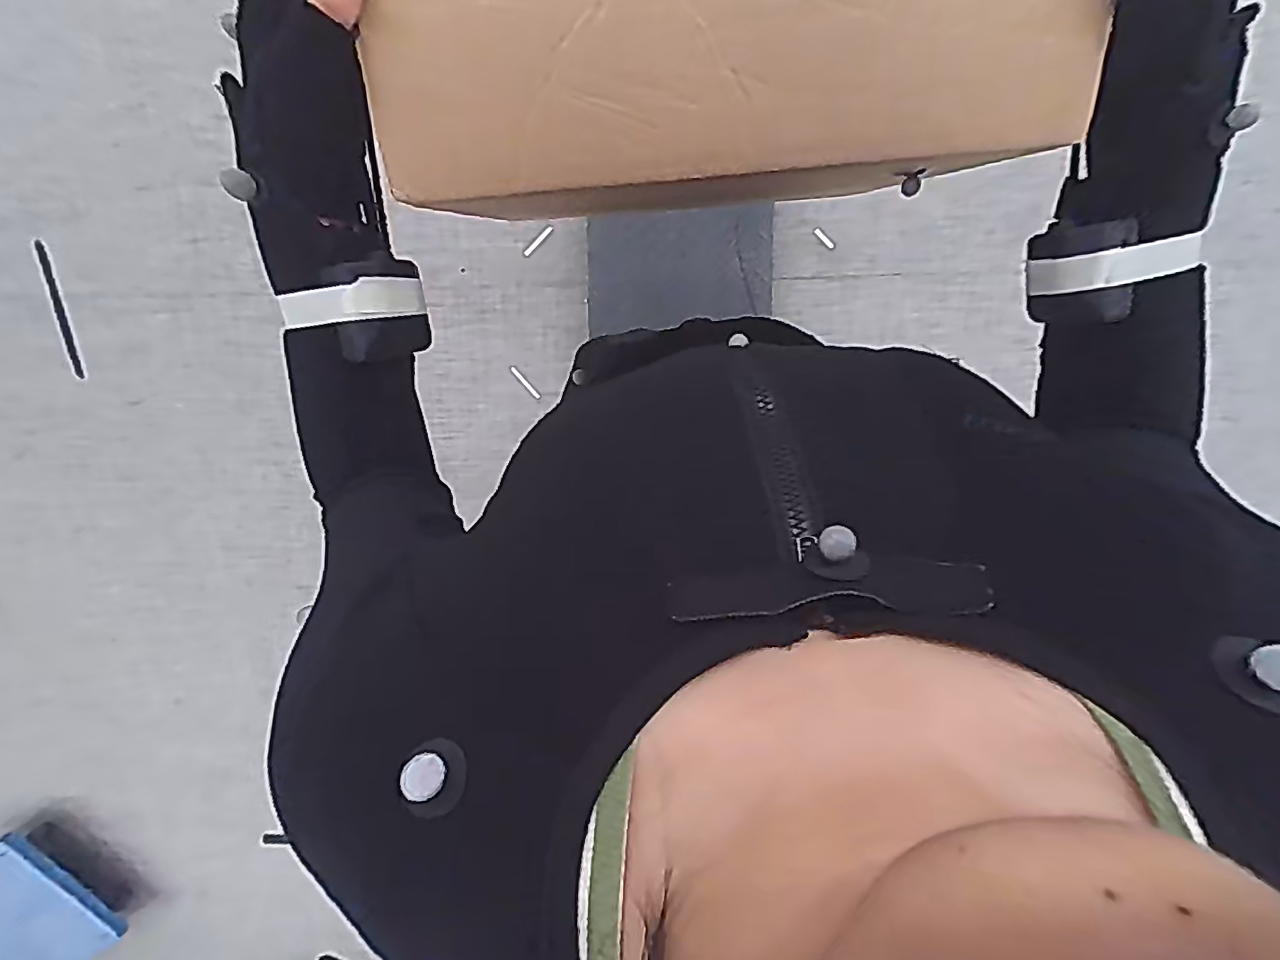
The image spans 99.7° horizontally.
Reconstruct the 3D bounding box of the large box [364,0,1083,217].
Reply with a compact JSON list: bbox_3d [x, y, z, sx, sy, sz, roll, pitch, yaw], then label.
[{"bbox_3d":[0.042,-0.388,0.406,0.408,0.320,0.320,-4,113,2],"label":"large box"}]
